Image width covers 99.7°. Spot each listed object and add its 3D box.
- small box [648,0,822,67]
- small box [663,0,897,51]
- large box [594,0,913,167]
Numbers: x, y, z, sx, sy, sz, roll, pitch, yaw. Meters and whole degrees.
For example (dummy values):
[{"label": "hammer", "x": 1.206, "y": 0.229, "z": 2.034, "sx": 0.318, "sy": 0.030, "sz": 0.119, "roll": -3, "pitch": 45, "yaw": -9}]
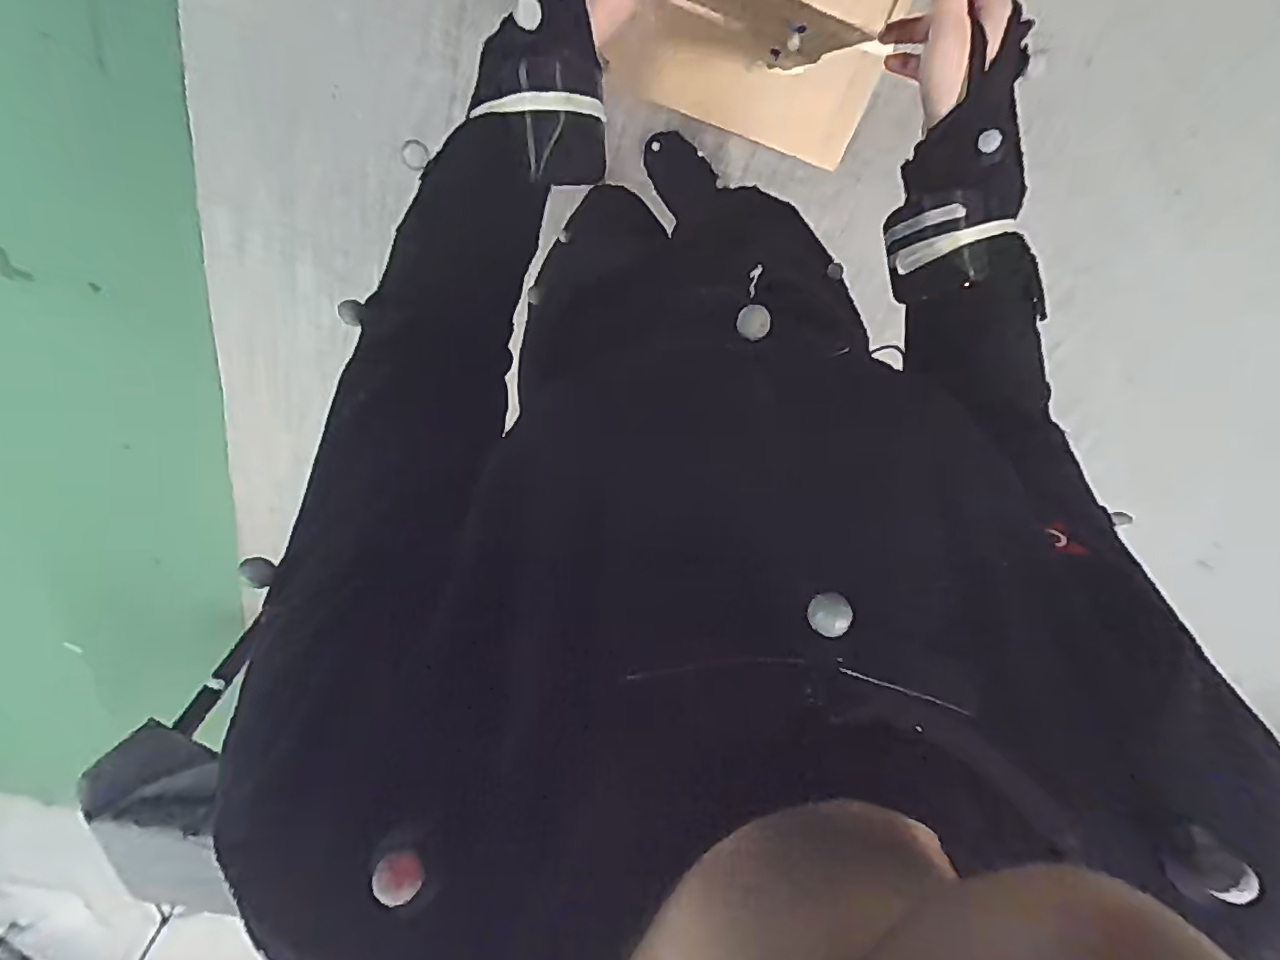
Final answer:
[{"label": "small box", "x": 0.108, "y": -0.517, "z": 0.512, "sx": 0.179, "sy": 0.176, "sz": 0.168, "roll": 14, "pitch": 124, "yaw": -8}, {"label": "small box", "x": 0.104, "y": -0.427, "z": 0.376, "sx": 0.179, "sy": 0.176, "sz": 0.168, "roll": 14, "pitch": 122, "yaw": -7}, {"label": "large box", "x": 0.165, "y": -0.737, "z": 0.852, "sx": 0.408, "sy": 0.320, "sz": 0.320, "roll": 15, "pitch": 125, "yaw": -8}]
